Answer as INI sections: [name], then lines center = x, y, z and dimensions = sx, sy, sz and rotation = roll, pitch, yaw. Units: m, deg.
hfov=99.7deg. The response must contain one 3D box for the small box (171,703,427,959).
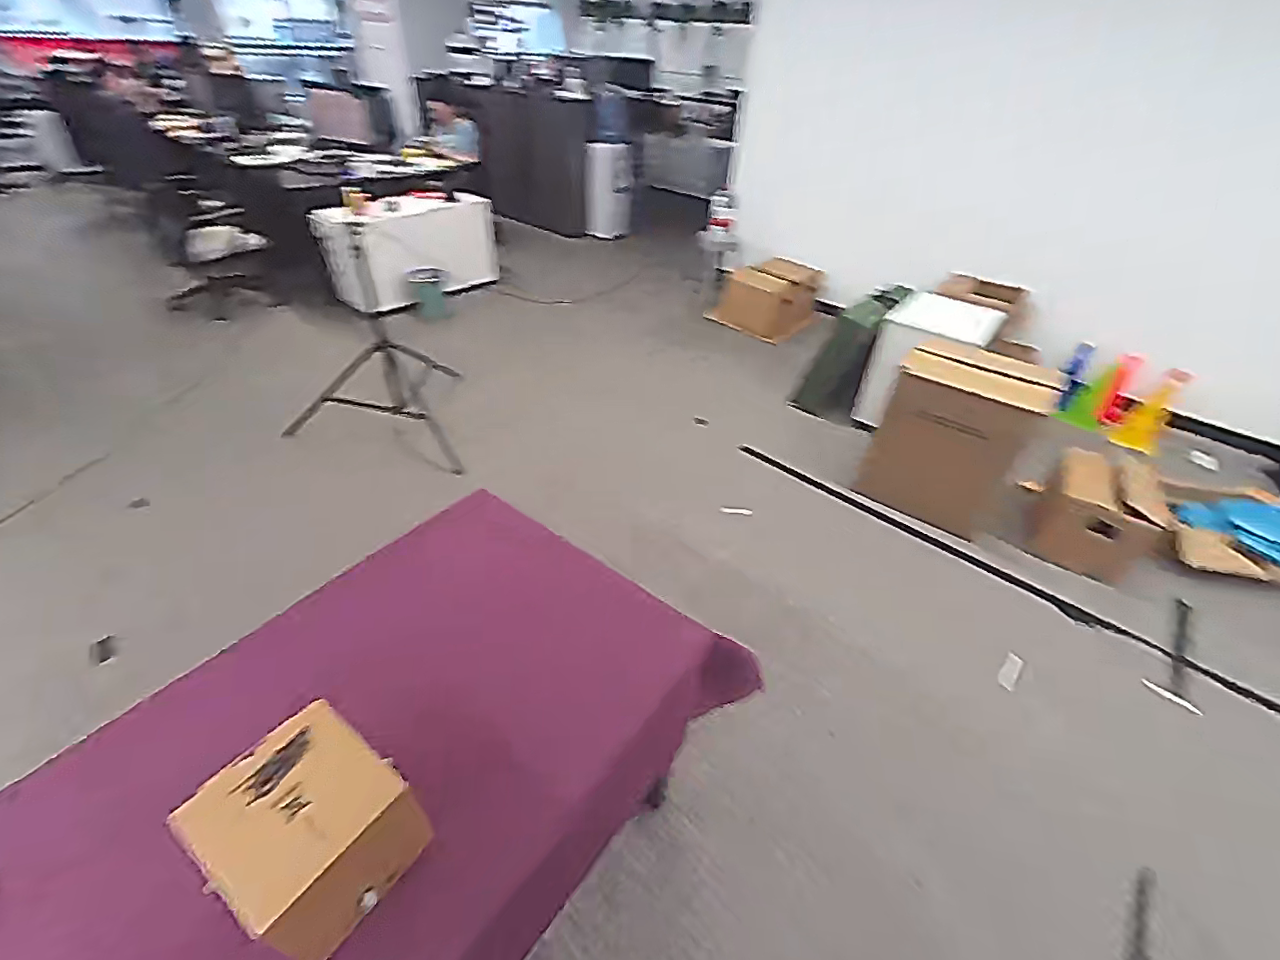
[small box]
center = -0.381, 0.409, 0.632
dimensions = 0.179, 0.176, 0.168
rotation = 25, 44, 24
